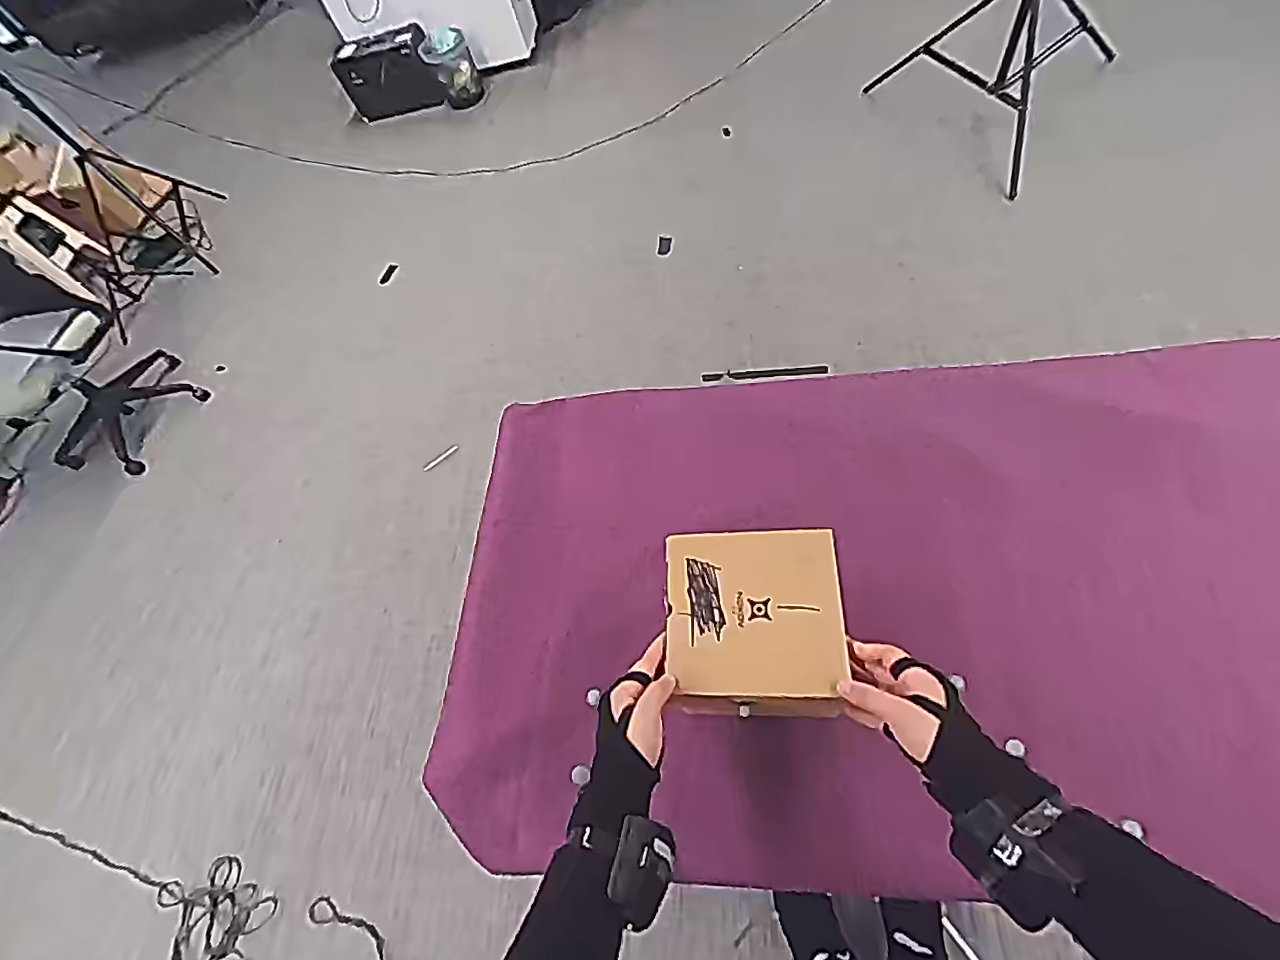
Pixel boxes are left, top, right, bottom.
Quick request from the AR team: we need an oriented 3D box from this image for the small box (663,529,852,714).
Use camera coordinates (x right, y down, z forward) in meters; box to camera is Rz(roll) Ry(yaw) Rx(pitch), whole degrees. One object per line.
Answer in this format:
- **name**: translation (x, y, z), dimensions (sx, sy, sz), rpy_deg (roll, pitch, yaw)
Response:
- **small box**: translation (0.128, 0.165, 0.608), dimensions (0.179, 0.176, 0.168), rpy_deg (-3, 61, 12)
